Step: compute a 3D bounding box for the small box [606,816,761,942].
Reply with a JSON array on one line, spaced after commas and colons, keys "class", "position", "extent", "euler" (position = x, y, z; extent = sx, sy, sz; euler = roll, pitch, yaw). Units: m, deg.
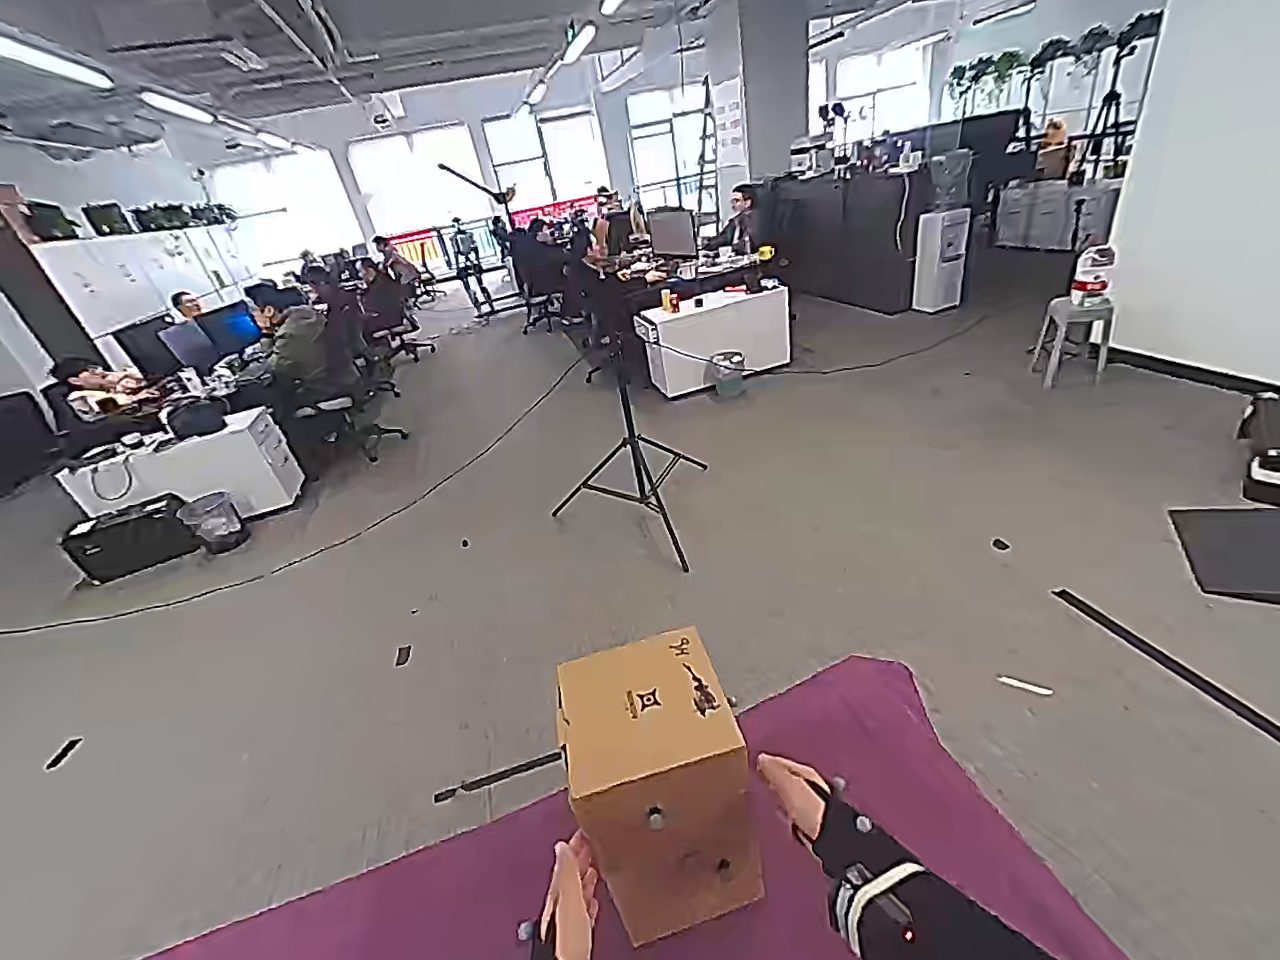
[{"class": "small box", "position": [0.045, 0.443, 0.698], "extent": [0.179, 0.176, 0.168], "euler": [-16, 31, -6]}]

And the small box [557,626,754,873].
[{"class": "small box", "position": [0.016, 0.304, 0.616], "extent": [0.179, 0.176, 0.168], "euler": [-16, 31, -5]}]
